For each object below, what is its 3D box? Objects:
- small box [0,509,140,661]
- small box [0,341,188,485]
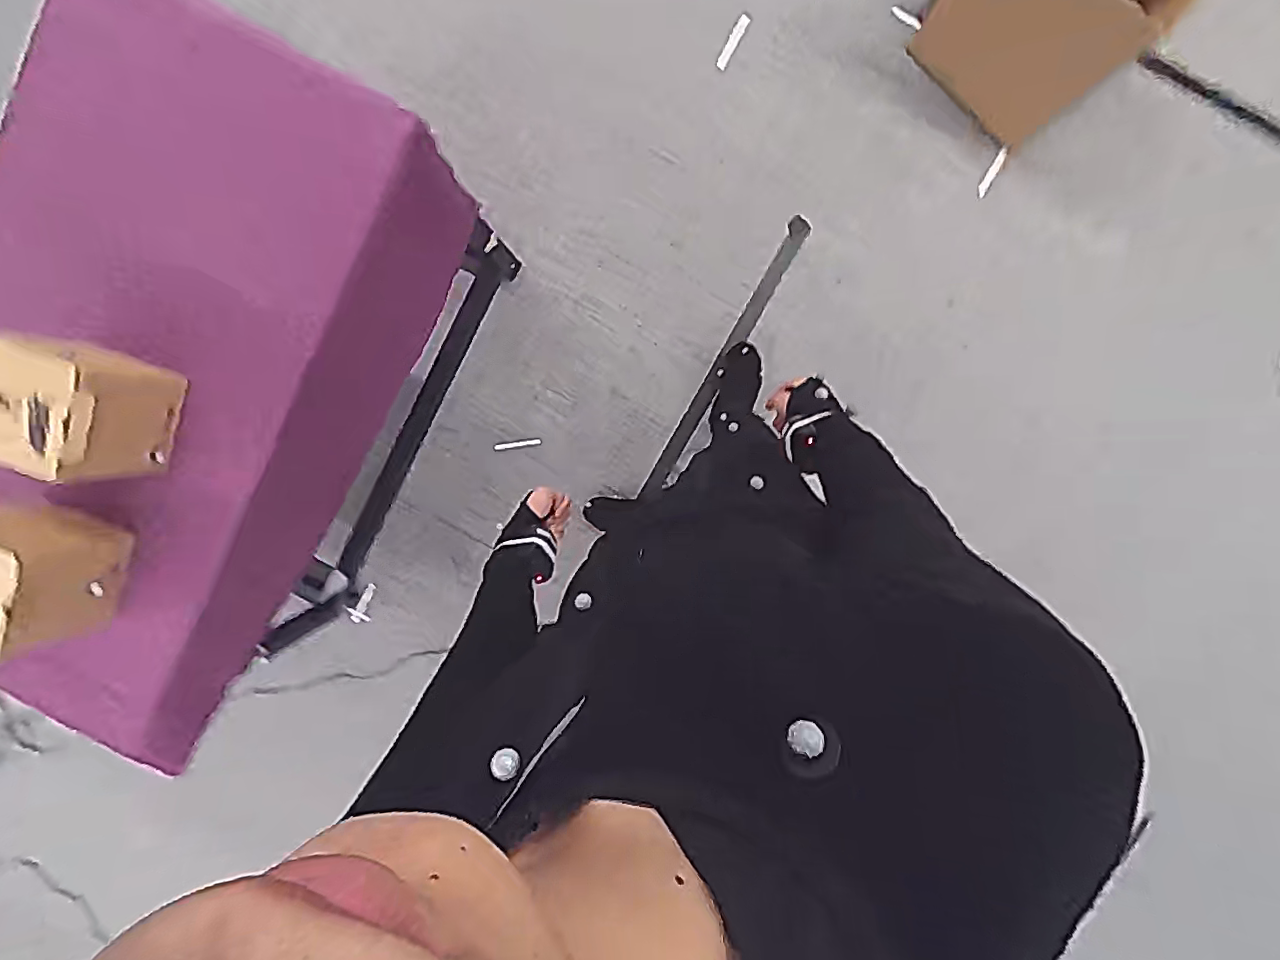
[{"bbox_3d":[-0.967,0.153,0.856,0.179,0.176,0.168,20,96,0],"label":"small box"},{"bbox_3d":[-0.853,-0.104,0.827,0.179,0.176,0.168,18,96,1],"label":"small box"}]
